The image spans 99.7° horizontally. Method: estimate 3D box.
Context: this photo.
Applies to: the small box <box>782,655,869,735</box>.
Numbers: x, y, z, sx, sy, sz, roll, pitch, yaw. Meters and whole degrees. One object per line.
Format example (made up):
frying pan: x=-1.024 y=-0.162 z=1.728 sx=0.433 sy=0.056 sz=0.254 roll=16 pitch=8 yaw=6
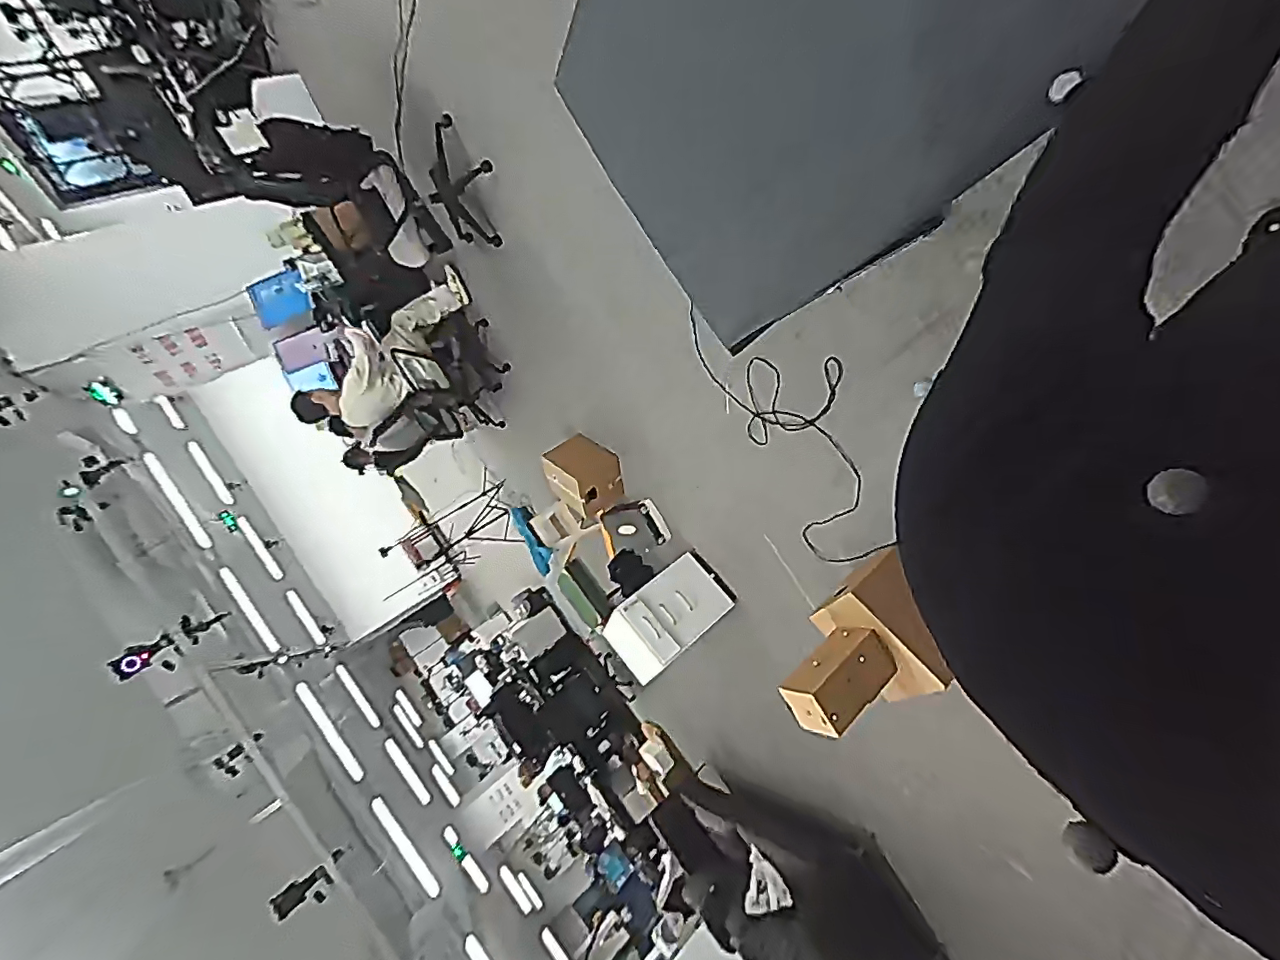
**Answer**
small box: x=0.611 y=0.698 z=1.779 sx=0.168 sy=0.176 sz=0.179 roll=57 pitch=155 yaw=-2
